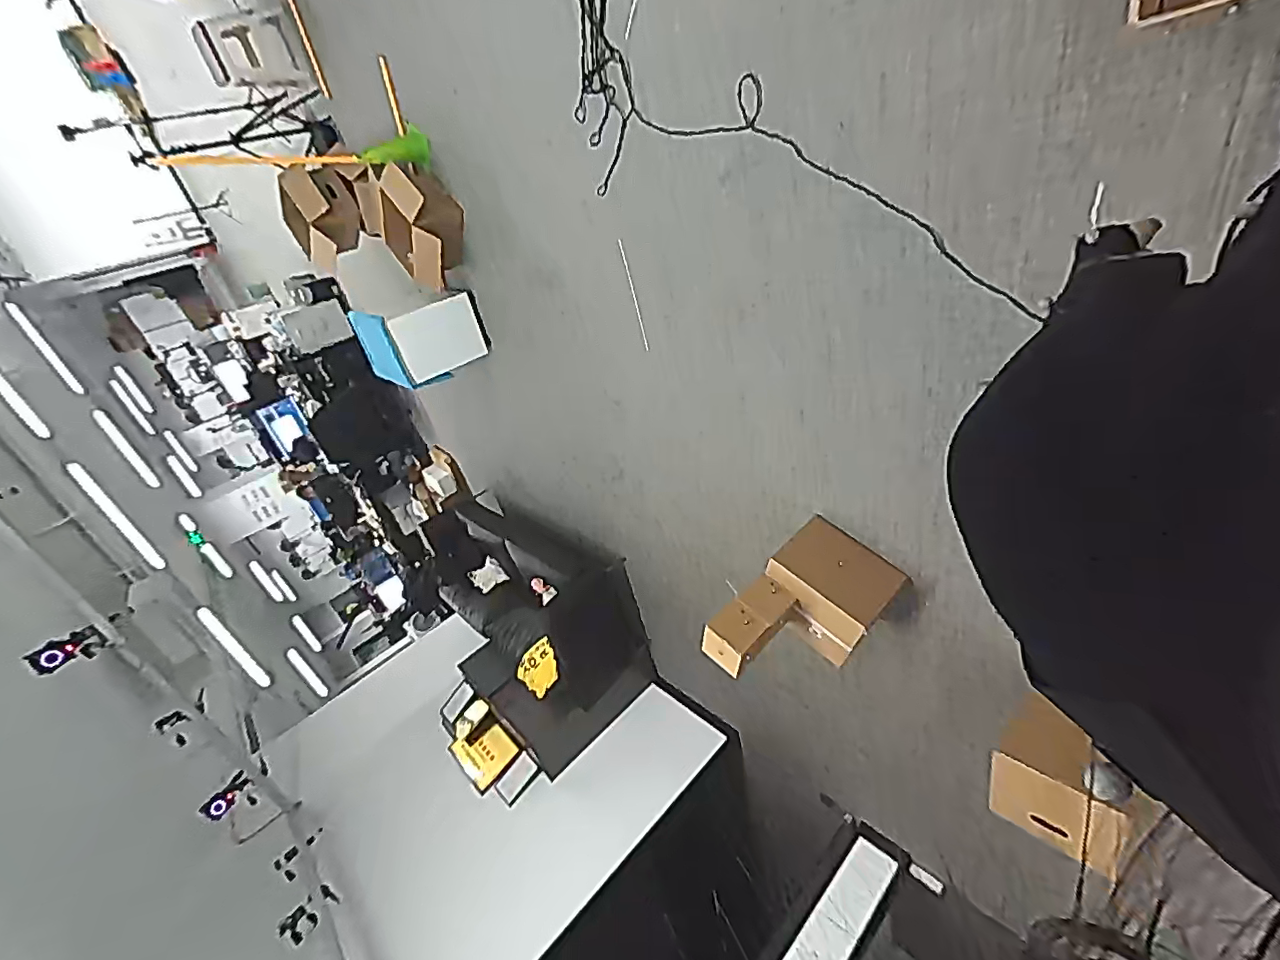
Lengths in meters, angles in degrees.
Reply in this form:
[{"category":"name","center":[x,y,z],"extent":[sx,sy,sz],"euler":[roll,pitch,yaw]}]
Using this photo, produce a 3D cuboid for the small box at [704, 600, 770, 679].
[{"category":"small box","center":[0.353,0.577,1.966],"extent":[0.168,0.176,0.179],"euler":[35,144,31]}]
